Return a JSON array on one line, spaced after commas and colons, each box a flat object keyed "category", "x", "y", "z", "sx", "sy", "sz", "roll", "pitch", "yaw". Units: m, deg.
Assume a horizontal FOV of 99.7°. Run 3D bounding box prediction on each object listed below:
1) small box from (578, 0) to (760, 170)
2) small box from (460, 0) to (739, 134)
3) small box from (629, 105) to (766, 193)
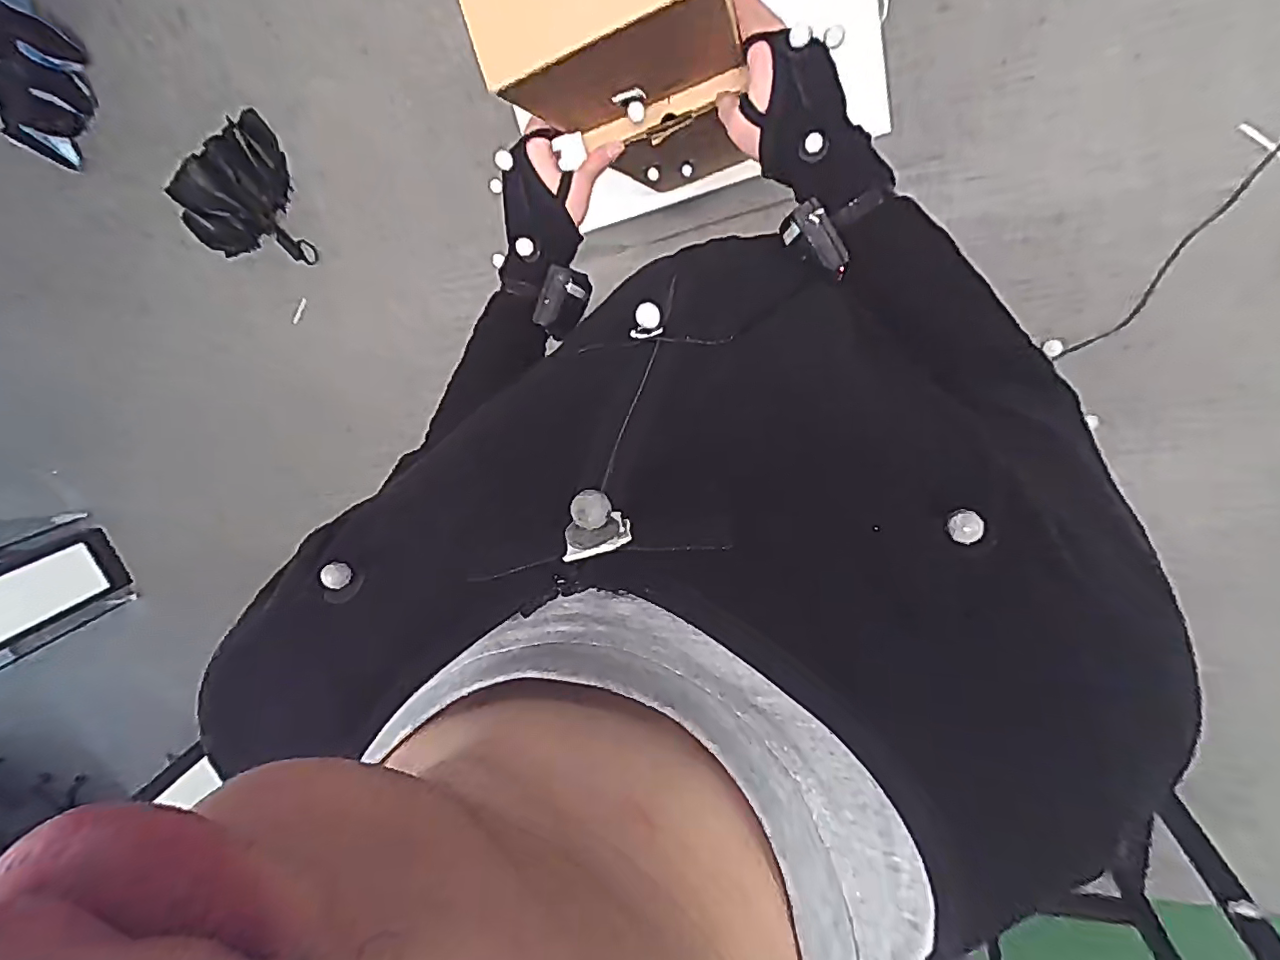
[{"category": "small box", "x": 0.020, "y": -0.431, "z": 0.536, "sx": 0.168, "sy": 0.176, "sz": 0.179, "roll": -12, "pitch": 107, "yaw": 19}, {"category": "small box", "x": -0.032, "y": -0.387, "z": 0.388, "sx": 0.168, "sy": 0.176, "sz": 0.179, "roll": -12, "pitch": 108, "yaw": 20}, {"category": "small box", "x": 0.059, "y": -0.492, "z": 0.686, "sx": 0.168, "sy": 0.176, "sz": 0.179, "roll": -13, "pitch": 108, "yaw": 20}]
